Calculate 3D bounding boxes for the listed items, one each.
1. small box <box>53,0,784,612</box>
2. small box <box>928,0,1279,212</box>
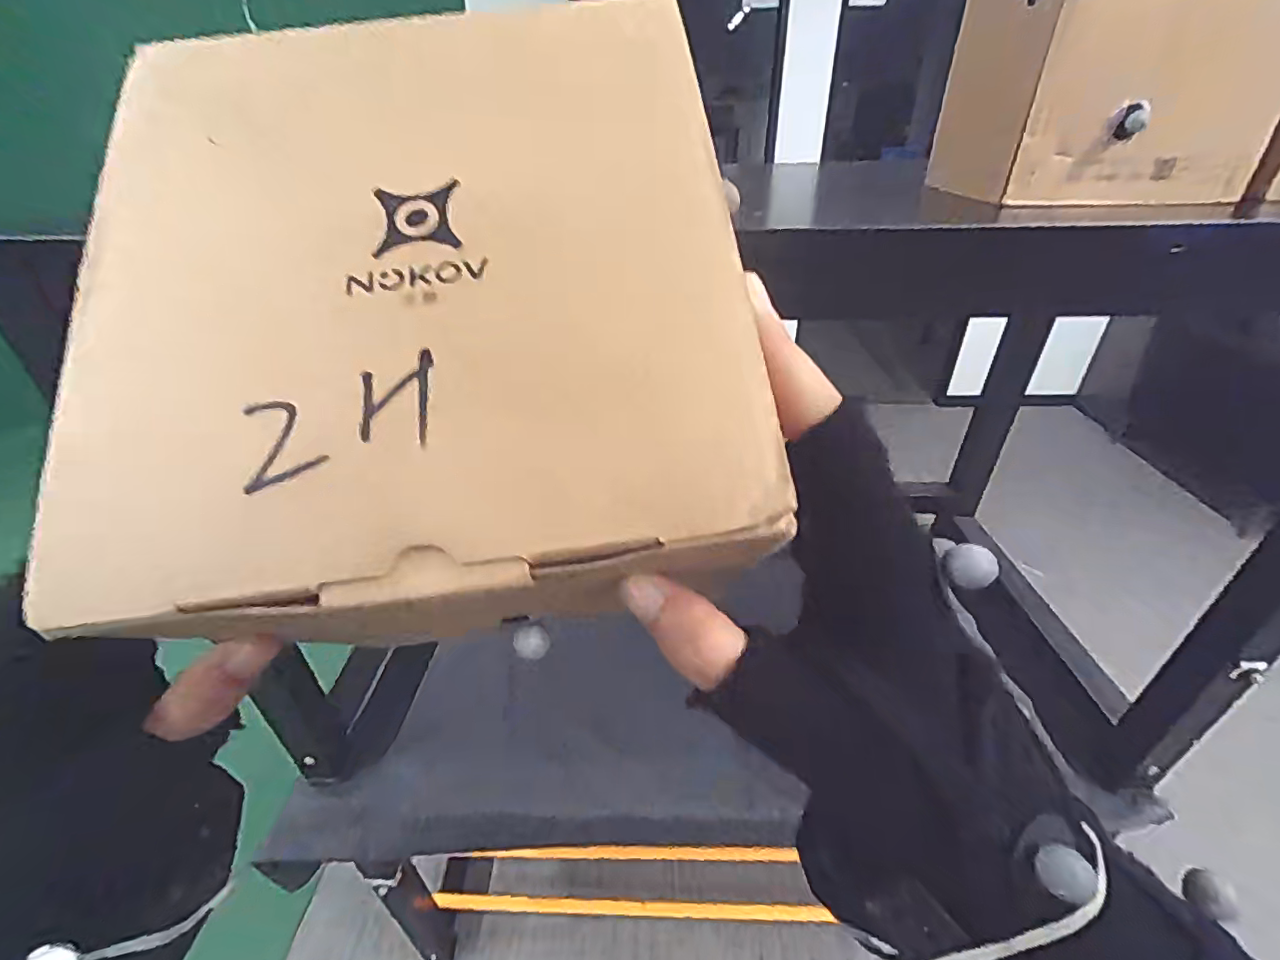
[{"bbox_3d":[-0.057,-0.049,0.222,0.168,0.176,0.179,-8,73,-1],"label":"small box"},{"bbox_3d":[0.361,-0.322,0.436,0.168,0.176,0.179,2,34,5],"label":"small box"}]
